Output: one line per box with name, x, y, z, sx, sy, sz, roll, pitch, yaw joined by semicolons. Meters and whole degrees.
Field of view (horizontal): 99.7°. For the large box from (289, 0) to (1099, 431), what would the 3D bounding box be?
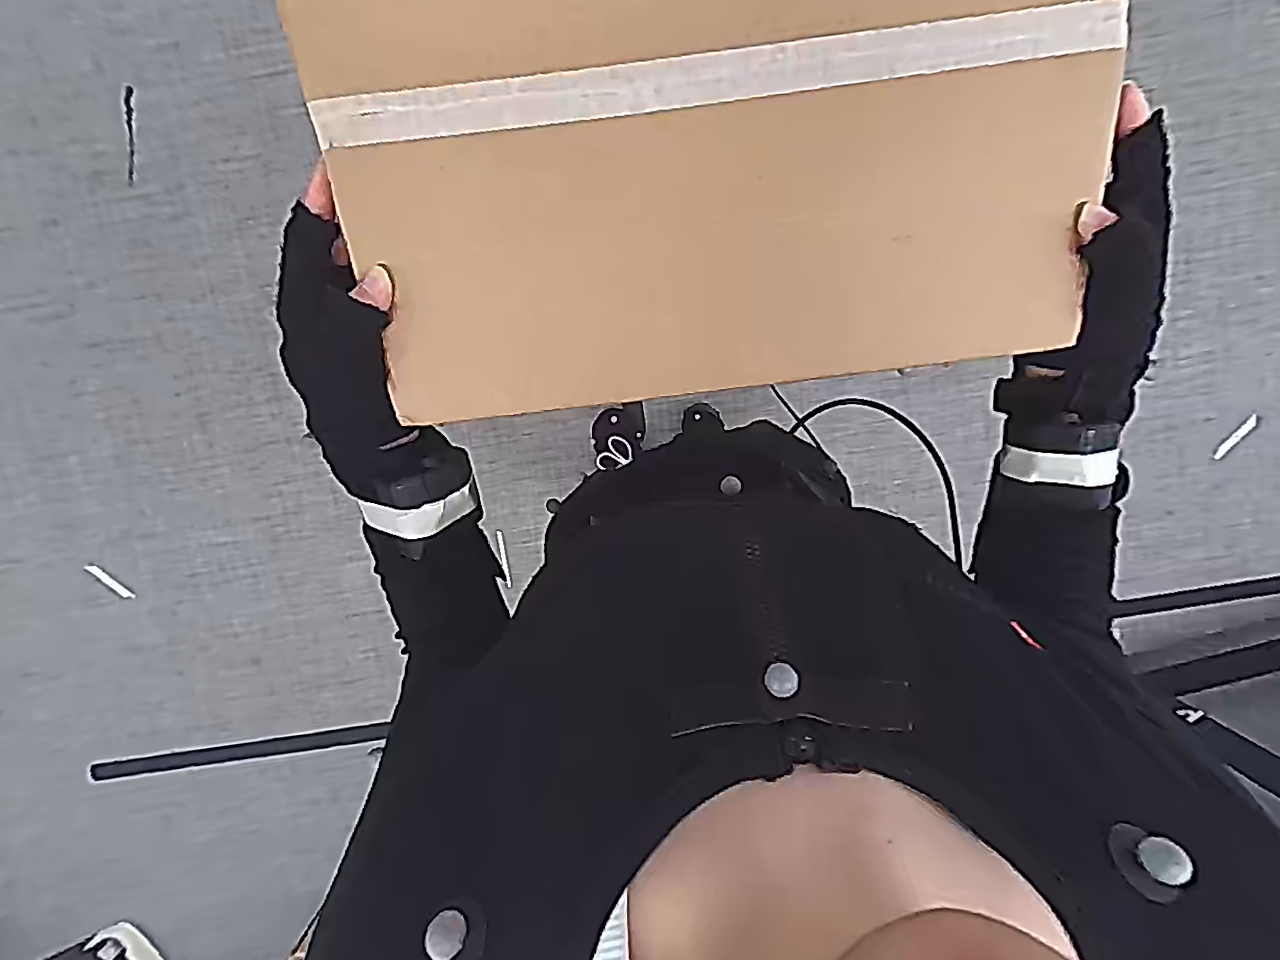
large box;0.030;-0.251;0.419;0.408;0.320;0.320;-7;110;0
